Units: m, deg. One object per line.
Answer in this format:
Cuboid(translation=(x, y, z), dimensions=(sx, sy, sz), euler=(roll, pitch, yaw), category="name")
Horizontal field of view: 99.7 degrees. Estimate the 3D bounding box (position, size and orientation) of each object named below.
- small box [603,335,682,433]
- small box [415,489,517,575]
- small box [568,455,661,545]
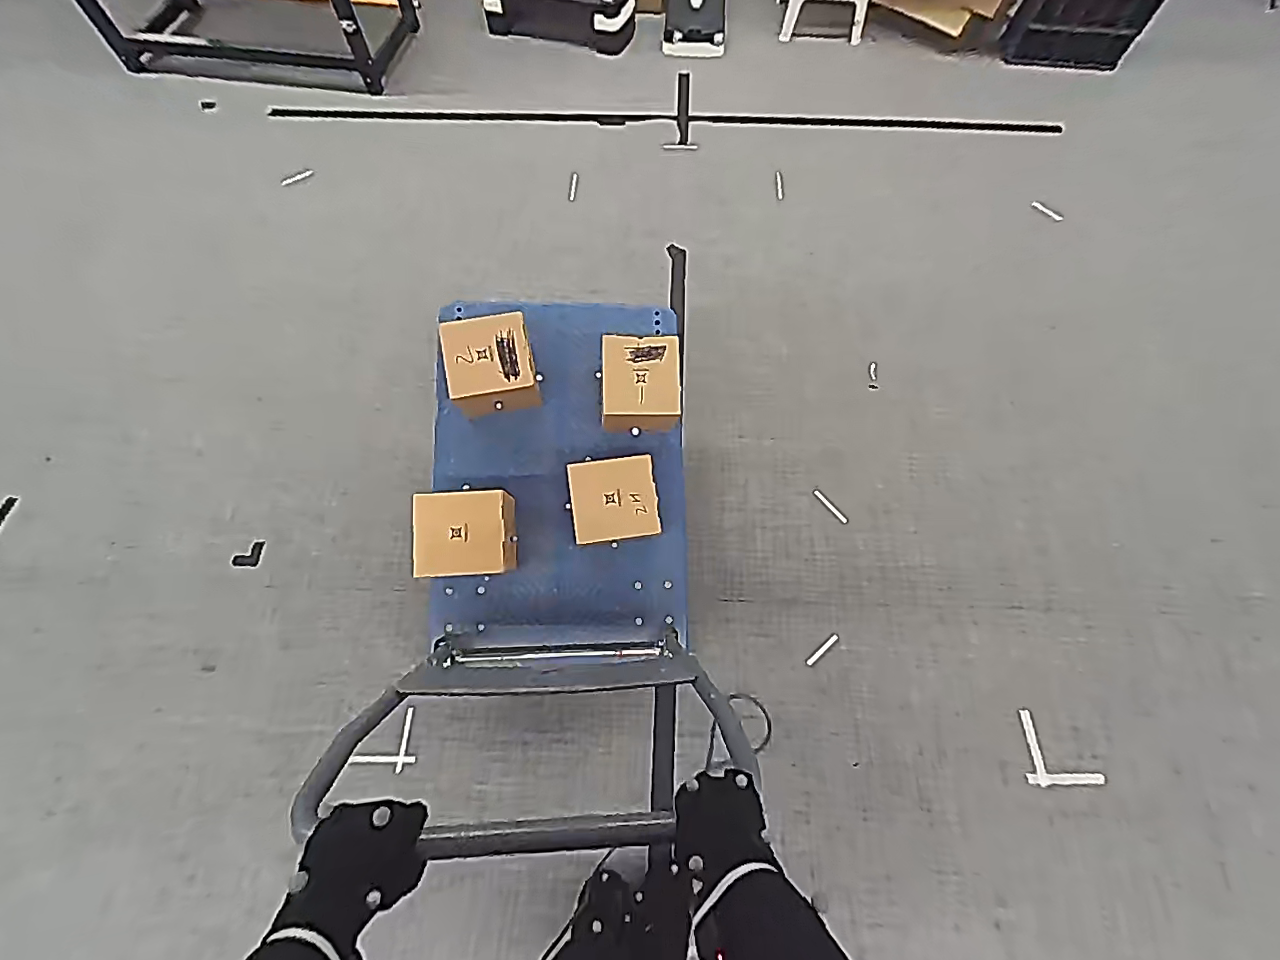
Cuboid(translation=(0.001, -0.211, 1.219), dimensions=(0.168, 0.176, 0.179), euler=(0, 83, -4), category="small box")
Cuboid(translation=(-0.361, 0.114, 1.143), dimensions=(0.179, 0.176, 0.168), euler=(-3, 82, -7), category="small box")
Cuboid(translation=(-0.057, 0.049, 1.177), dimensions=(0.179, 0.176, 0.168), euler=(-7, 83, -5), category="small box")
